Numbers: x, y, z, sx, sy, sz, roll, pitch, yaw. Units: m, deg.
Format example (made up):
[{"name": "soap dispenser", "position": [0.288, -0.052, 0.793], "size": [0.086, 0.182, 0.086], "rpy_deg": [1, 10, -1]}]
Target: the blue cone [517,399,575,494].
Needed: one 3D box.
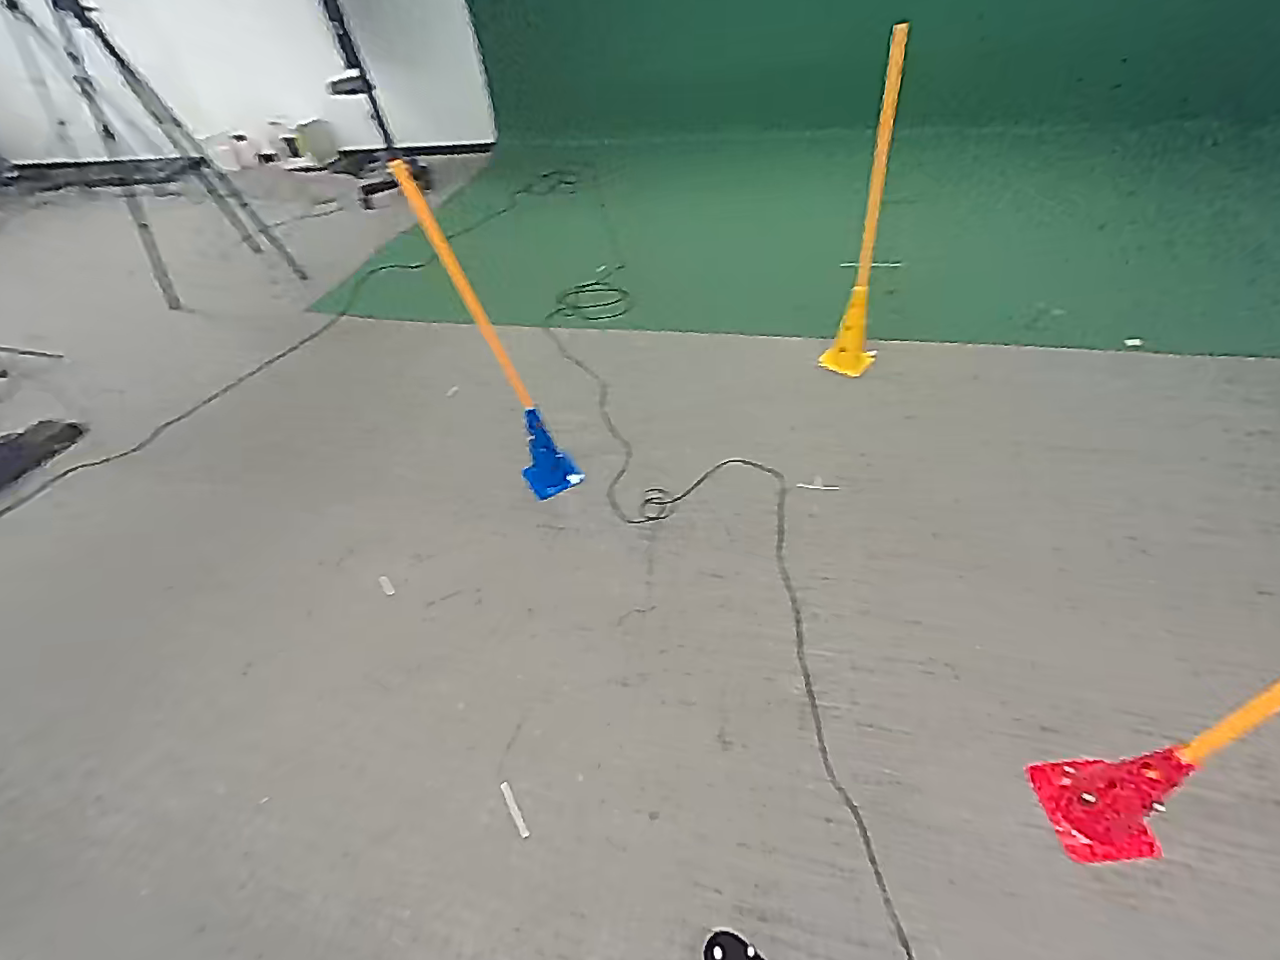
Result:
[{"name": "blue cone", "position": [-0.385, -0.141, 2.009], "size": [0.193, 0.380, 0.192], "rpy_deg": [-29, 51, -17]}]
